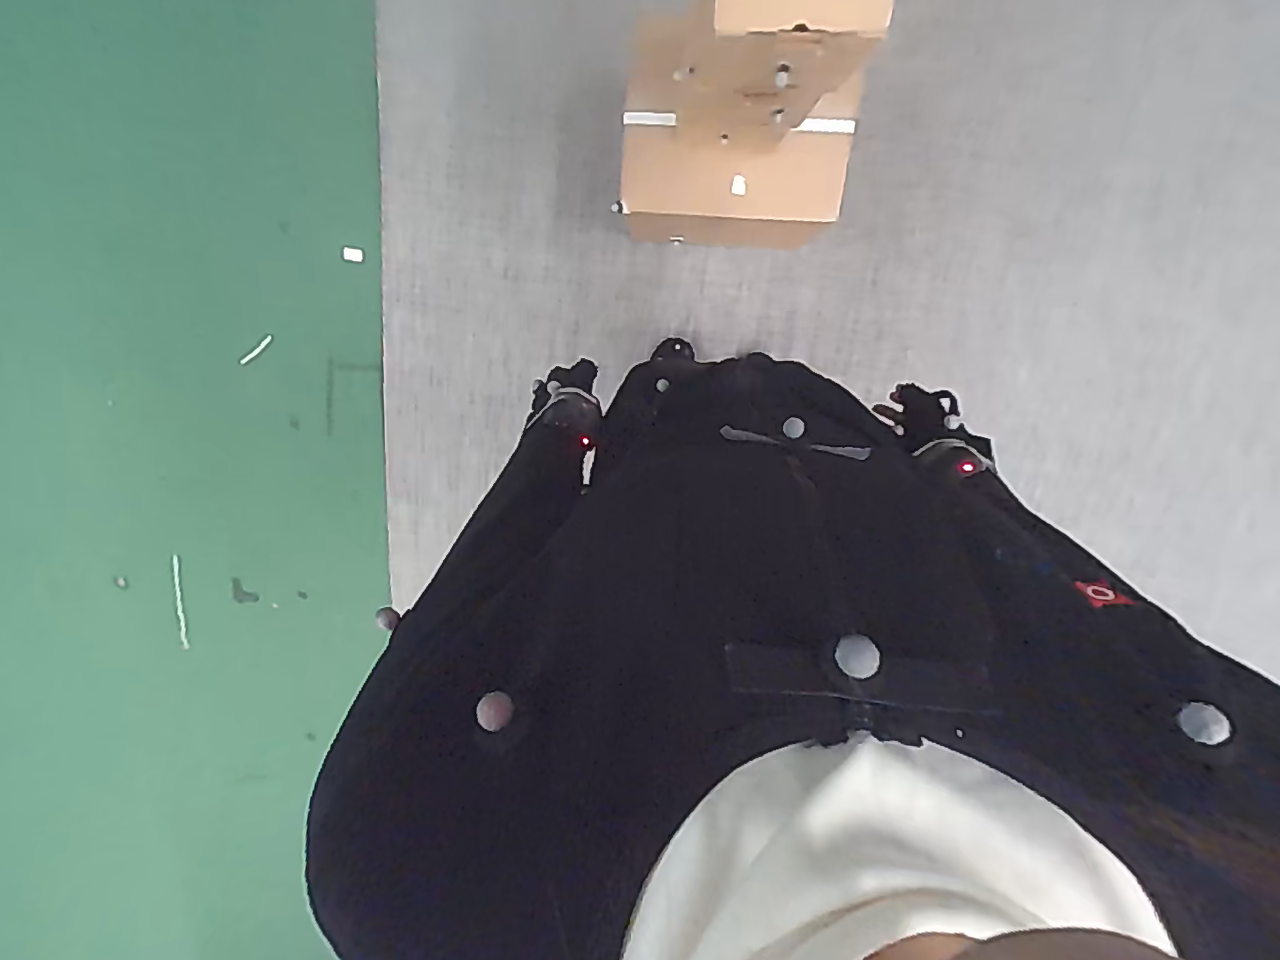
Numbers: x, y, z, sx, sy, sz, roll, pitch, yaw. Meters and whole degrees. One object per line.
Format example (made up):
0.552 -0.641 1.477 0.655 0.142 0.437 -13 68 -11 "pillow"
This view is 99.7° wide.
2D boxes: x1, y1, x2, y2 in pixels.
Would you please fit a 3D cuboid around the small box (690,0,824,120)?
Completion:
0.154 -0.595 0.712 0.168 0.176 0.179 2 110 3 "small box"

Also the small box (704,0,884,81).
0.155 -0.537 0.559 0.168 0.176 0.179 2 112 3 "small box"

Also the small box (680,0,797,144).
0.159 -0.650 0.865 0.179 0.176 0.168 4 112 3 "small box"
